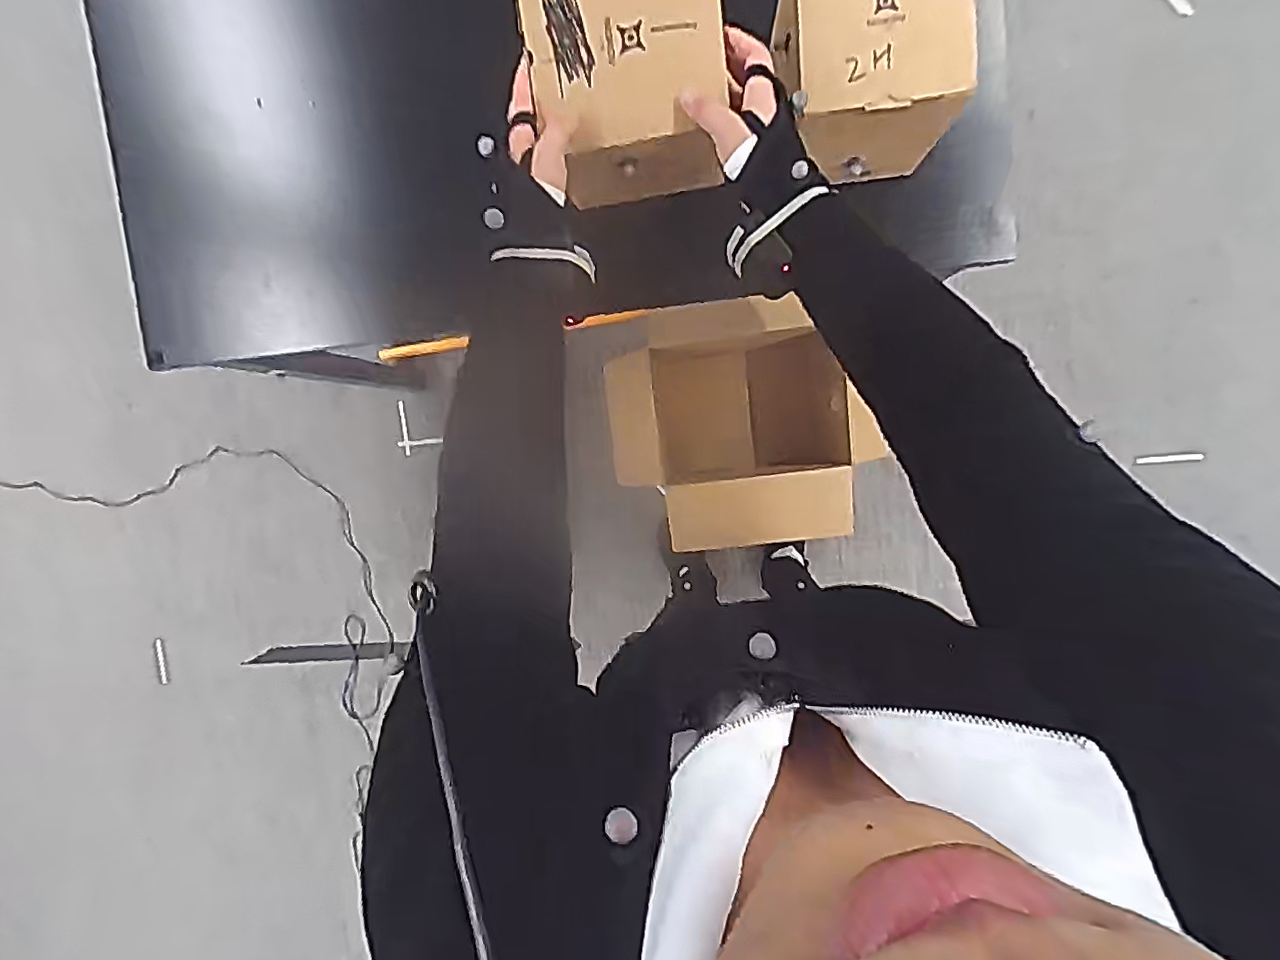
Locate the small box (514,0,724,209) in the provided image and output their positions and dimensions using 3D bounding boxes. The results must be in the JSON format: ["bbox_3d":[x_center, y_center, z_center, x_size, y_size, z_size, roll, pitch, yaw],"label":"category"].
[{"bbox_3d":[-0.010,-0.395,0.550,0.179,0.176,0.168,-6,101,7],"label":"small box"}]

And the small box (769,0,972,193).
[{"bbox_3d":[0.239,-0.451,0.599,0.168,0.176,0.179,-4,94,7],"label":"small box"}]
